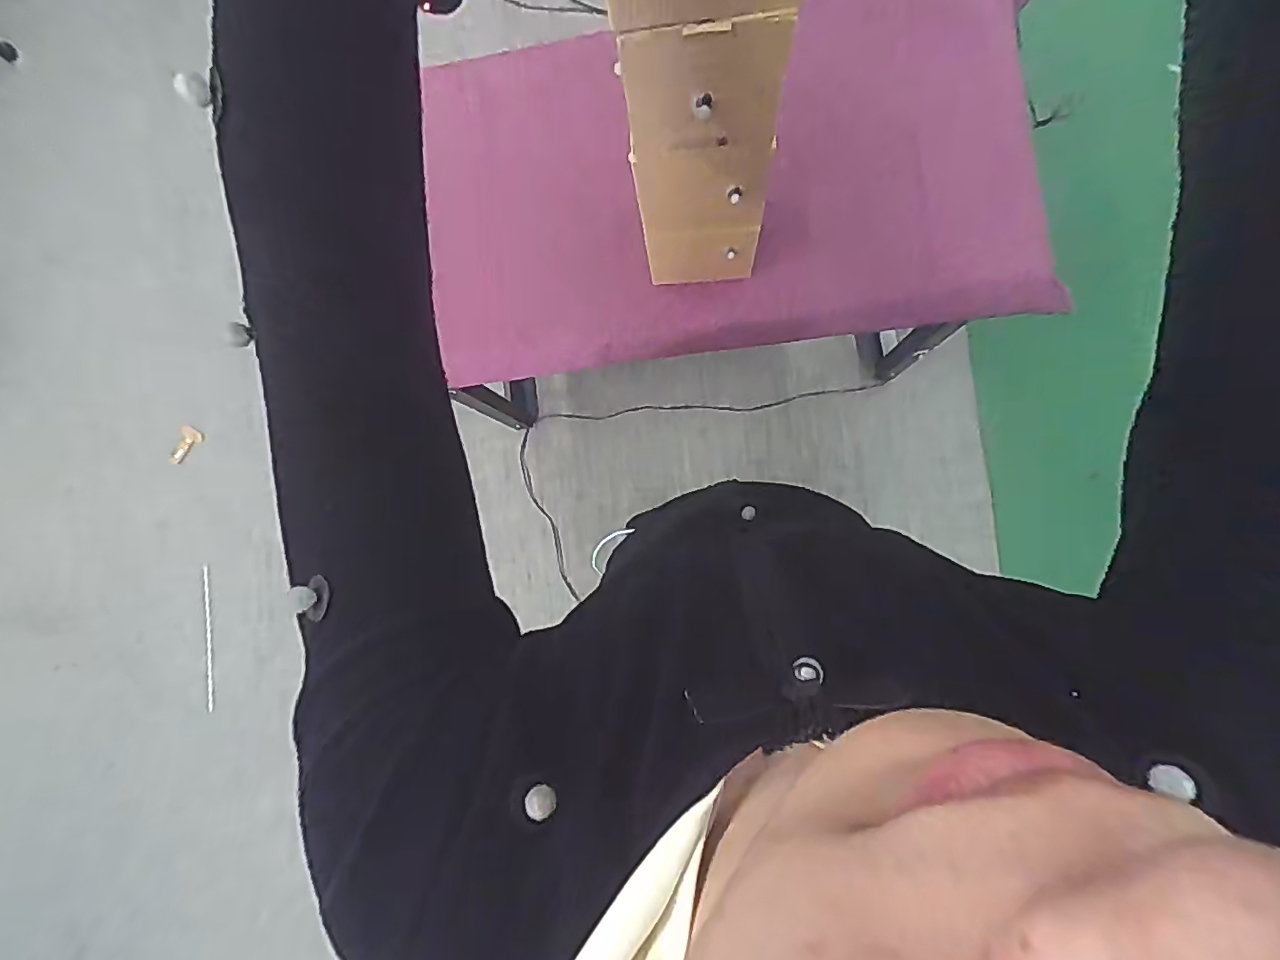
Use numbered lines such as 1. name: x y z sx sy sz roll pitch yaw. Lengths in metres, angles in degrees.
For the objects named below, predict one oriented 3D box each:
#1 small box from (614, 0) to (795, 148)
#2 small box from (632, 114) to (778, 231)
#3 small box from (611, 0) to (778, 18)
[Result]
1. small box: 0.066 -0.482 0.570 0.168 0.176 0.179 -2 85 6
2. small box: 0.084 -0.460 0.730 0.179 0.176 0.168 -1 84 7
3. small box: 0.048 -0.500 0.408 0.179 0.176 0.168 -4 84 5
